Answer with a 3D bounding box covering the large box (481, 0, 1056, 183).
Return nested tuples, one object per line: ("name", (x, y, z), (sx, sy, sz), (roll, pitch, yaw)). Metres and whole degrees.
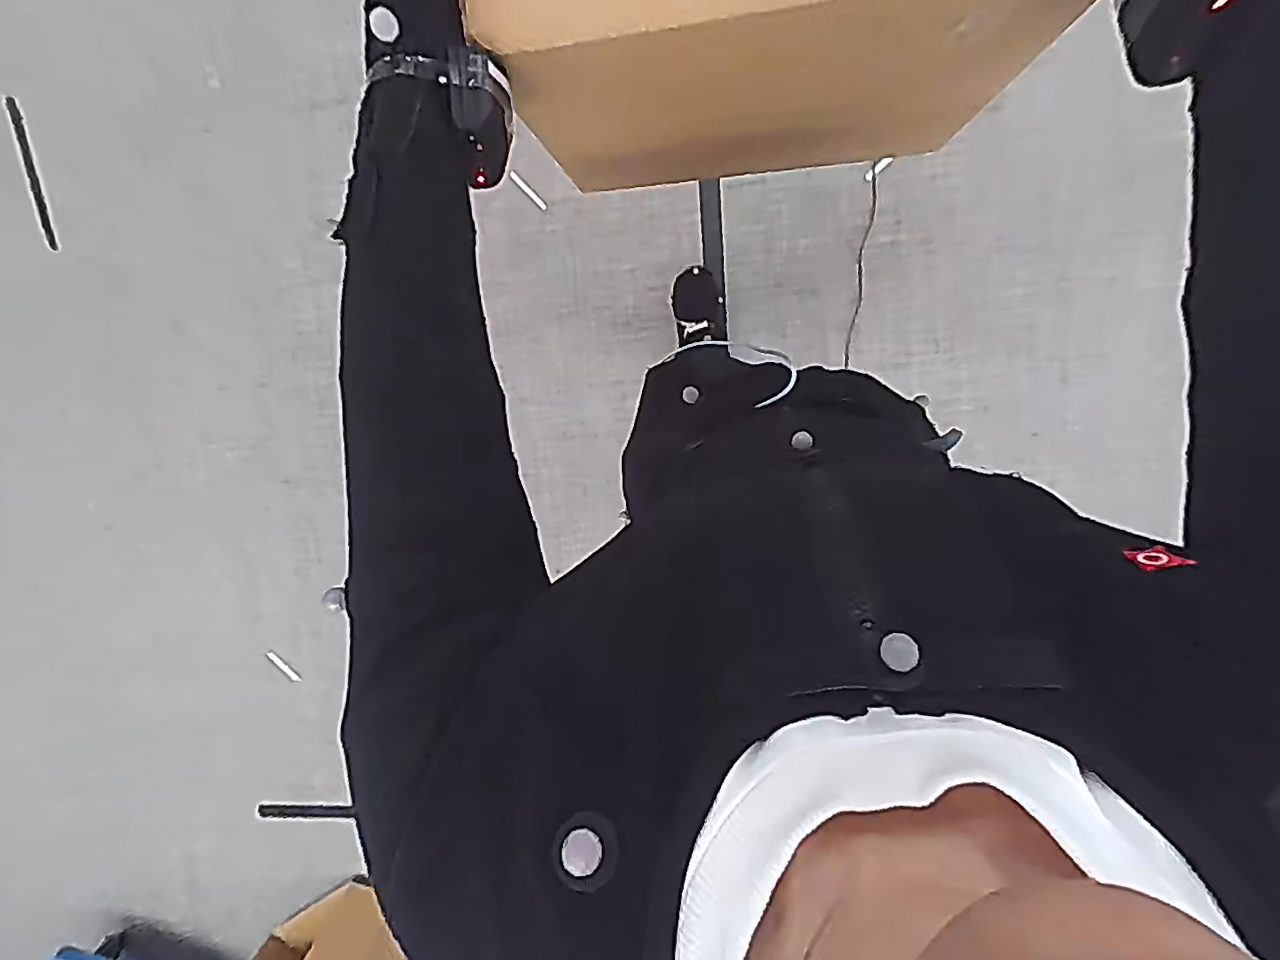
("large box", (0.094, -0.483, 0.449), (0.408, 0.320, 0.320), (-3, 103, 8))
